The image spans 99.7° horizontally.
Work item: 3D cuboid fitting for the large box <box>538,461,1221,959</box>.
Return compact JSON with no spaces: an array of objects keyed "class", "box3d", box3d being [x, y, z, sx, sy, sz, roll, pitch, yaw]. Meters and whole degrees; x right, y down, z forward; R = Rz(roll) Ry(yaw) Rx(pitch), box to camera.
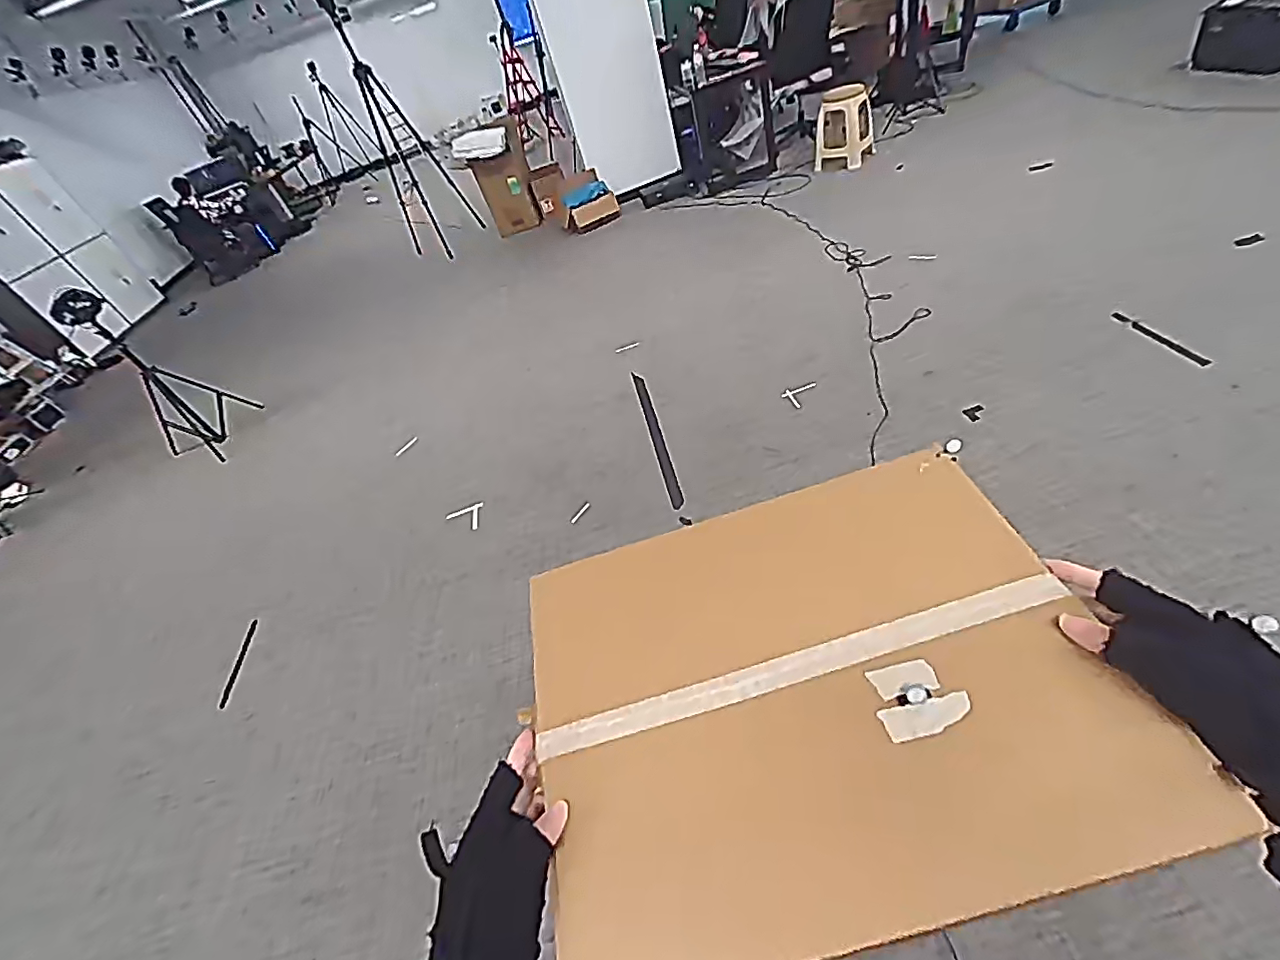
[{"class":"large box","box3d":[0.153,0.245,0.525,0.408,0.320,0.320,-18,48,2]}]
